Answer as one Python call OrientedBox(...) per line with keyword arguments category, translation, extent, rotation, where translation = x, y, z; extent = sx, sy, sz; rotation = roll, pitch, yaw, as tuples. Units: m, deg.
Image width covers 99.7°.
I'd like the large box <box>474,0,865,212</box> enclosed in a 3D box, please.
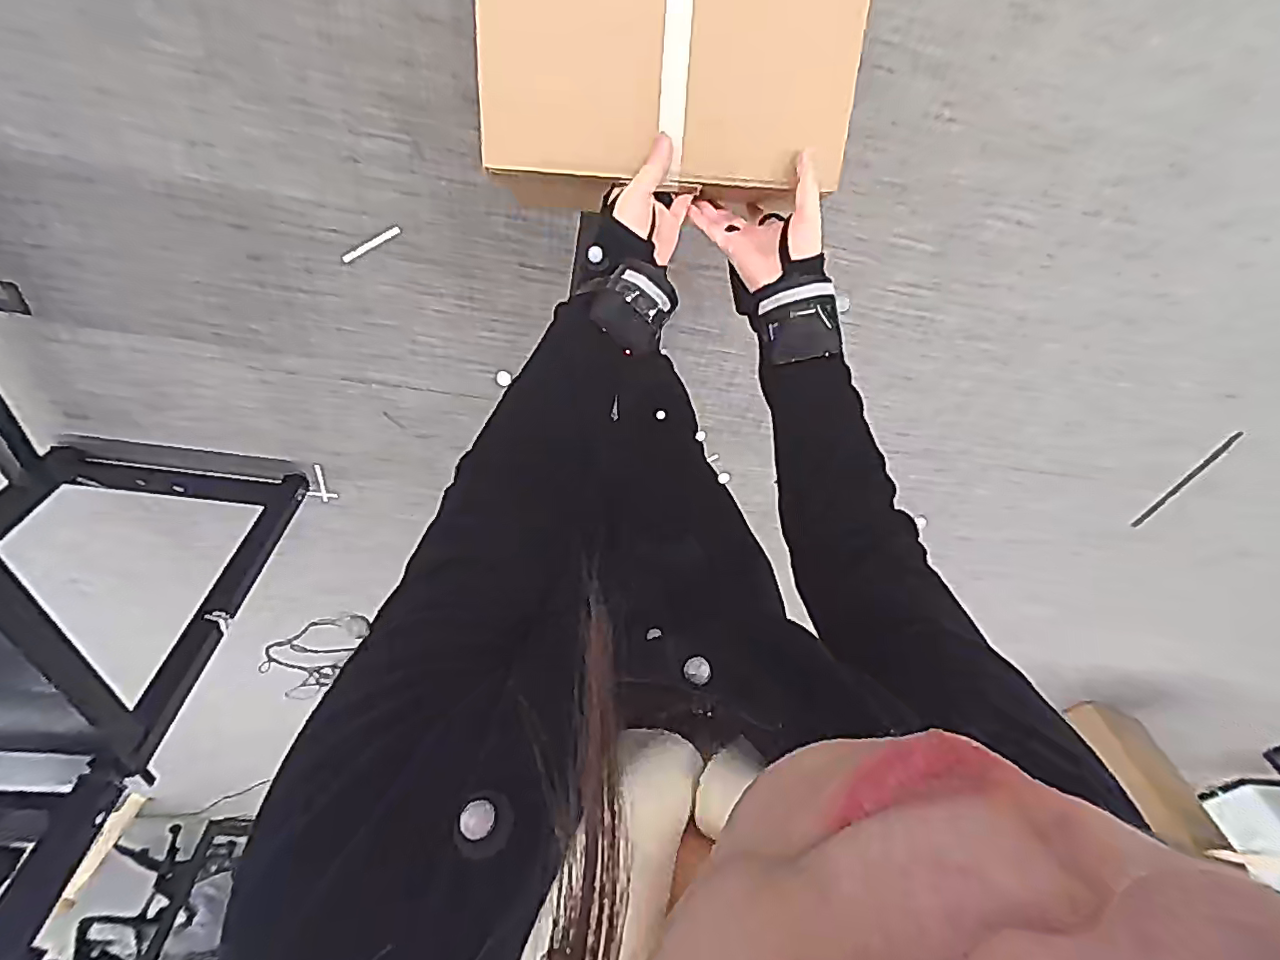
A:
OrientedBox(category="large box", translation=(0.022, -0.504, 0.534), extent=(0.320, 0.320, 0.408), rotation=(1, 111, -5))
